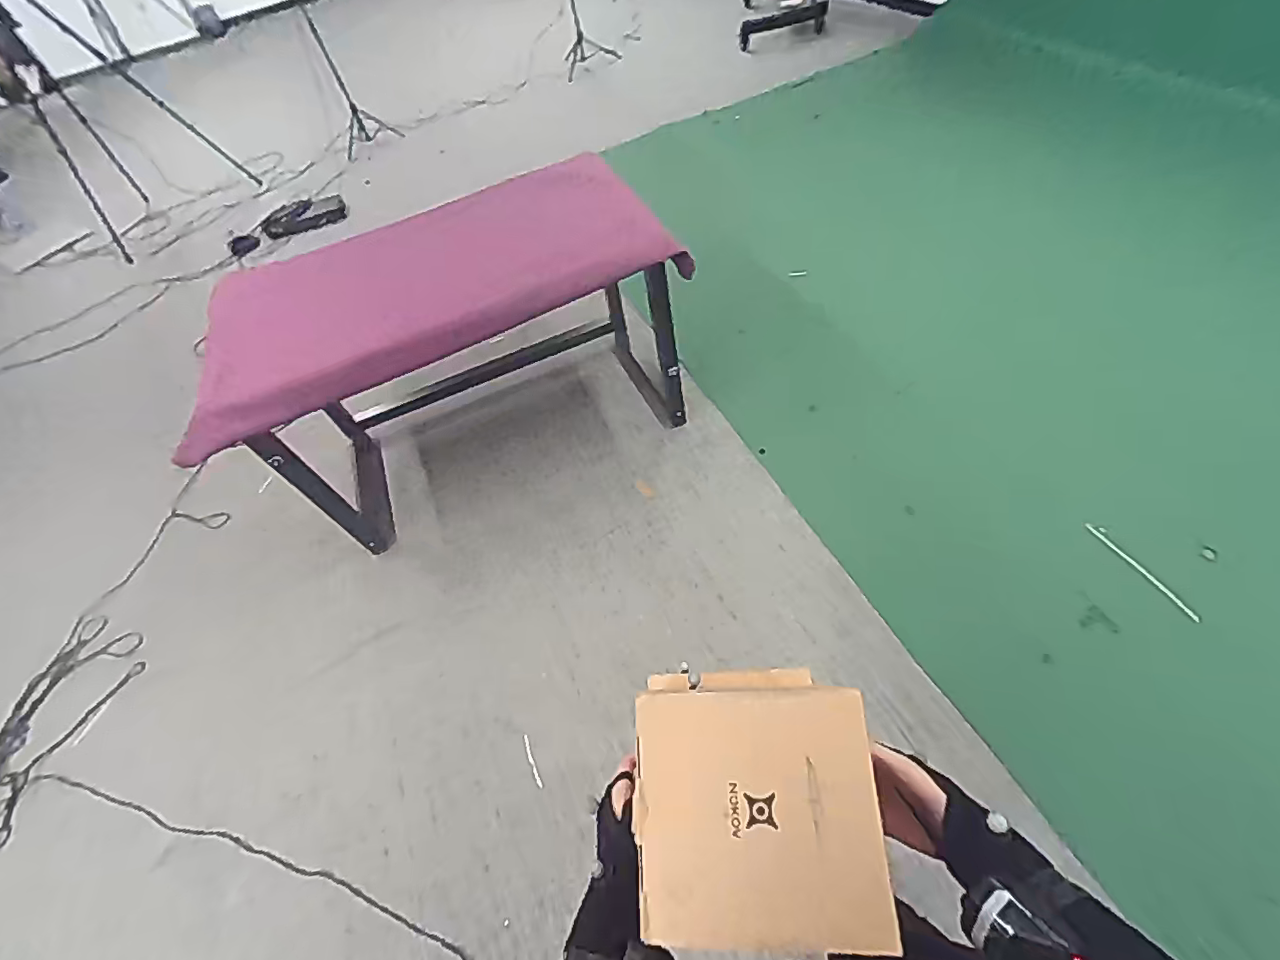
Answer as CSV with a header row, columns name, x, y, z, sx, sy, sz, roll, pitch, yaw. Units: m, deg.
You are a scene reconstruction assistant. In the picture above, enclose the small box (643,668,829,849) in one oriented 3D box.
name,x,y,z,sx,sy,sz,roll,pitch,yaw
small box,0.103,0.308,0.624,0.179,0.176,0.168,-6,67,8
